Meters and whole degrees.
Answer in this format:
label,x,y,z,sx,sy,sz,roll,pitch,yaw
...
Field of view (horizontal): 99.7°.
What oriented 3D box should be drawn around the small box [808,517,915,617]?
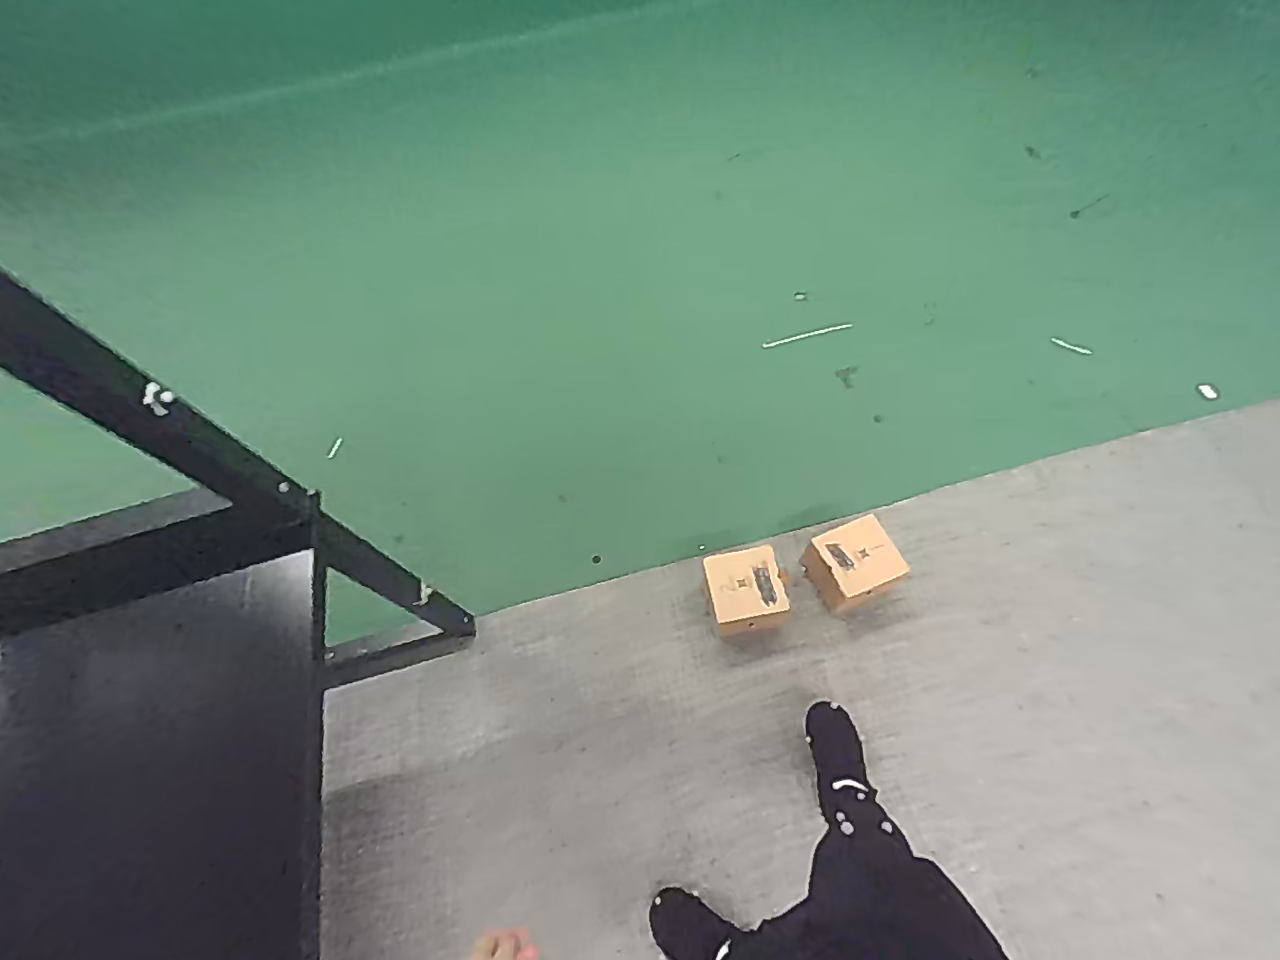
label,x,y,z,sx,sy,sz,roll,pitch,yaw
small box,0.540,0.223,1.354,0.179,0.176,0.168,-21,62,-7
